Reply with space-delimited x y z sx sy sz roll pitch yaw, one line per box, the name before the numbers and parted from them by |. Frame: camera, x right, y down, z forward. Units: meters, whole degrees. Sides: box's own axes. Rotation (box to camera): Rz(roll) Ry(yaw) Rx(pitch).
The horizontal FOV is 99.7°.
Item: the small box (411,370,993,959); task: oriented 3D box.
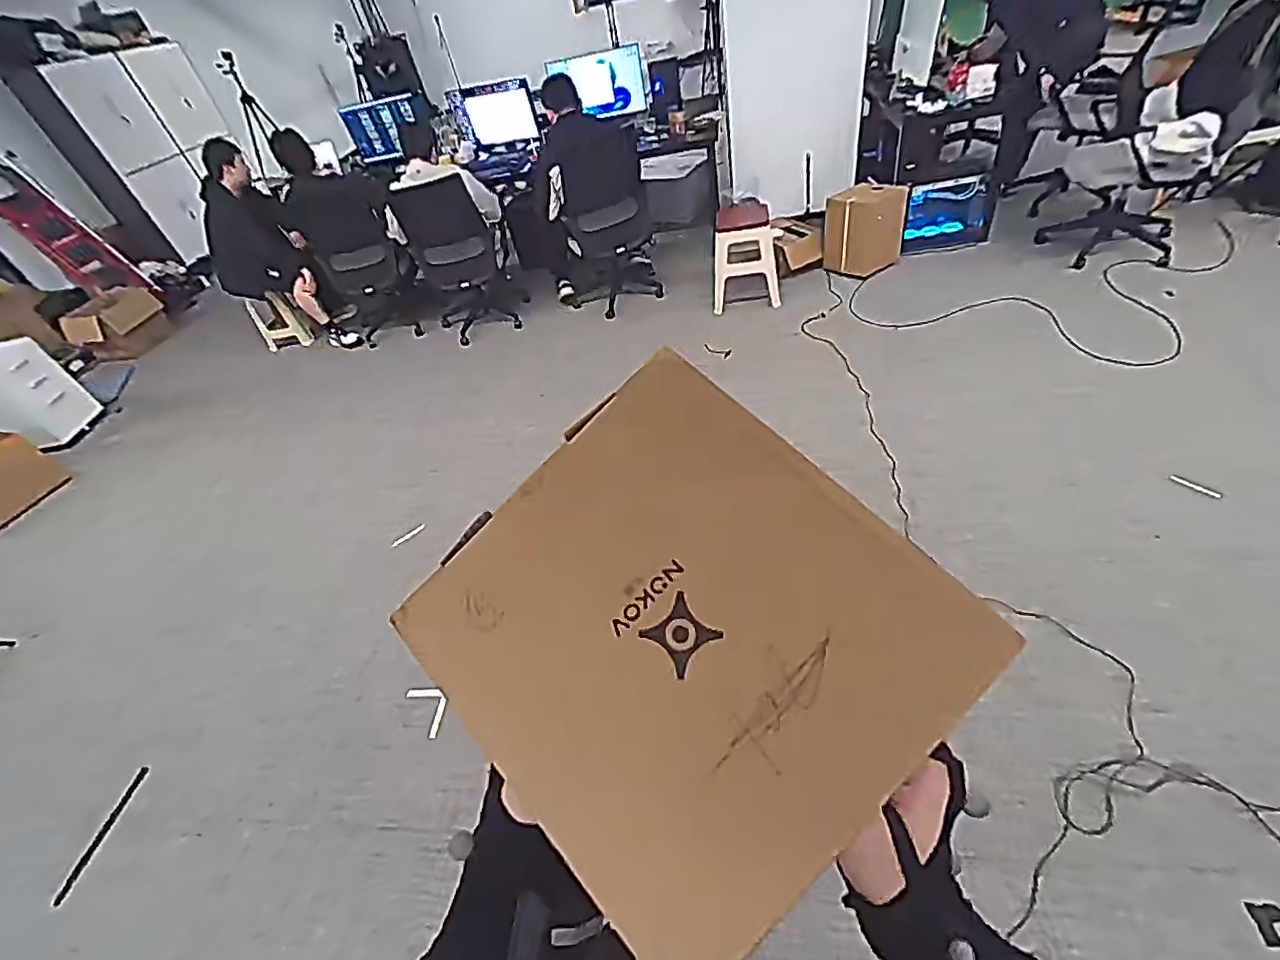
small box | 0.026 0.082 0.291 0.168 0.176 0.179 -45 71 -4
